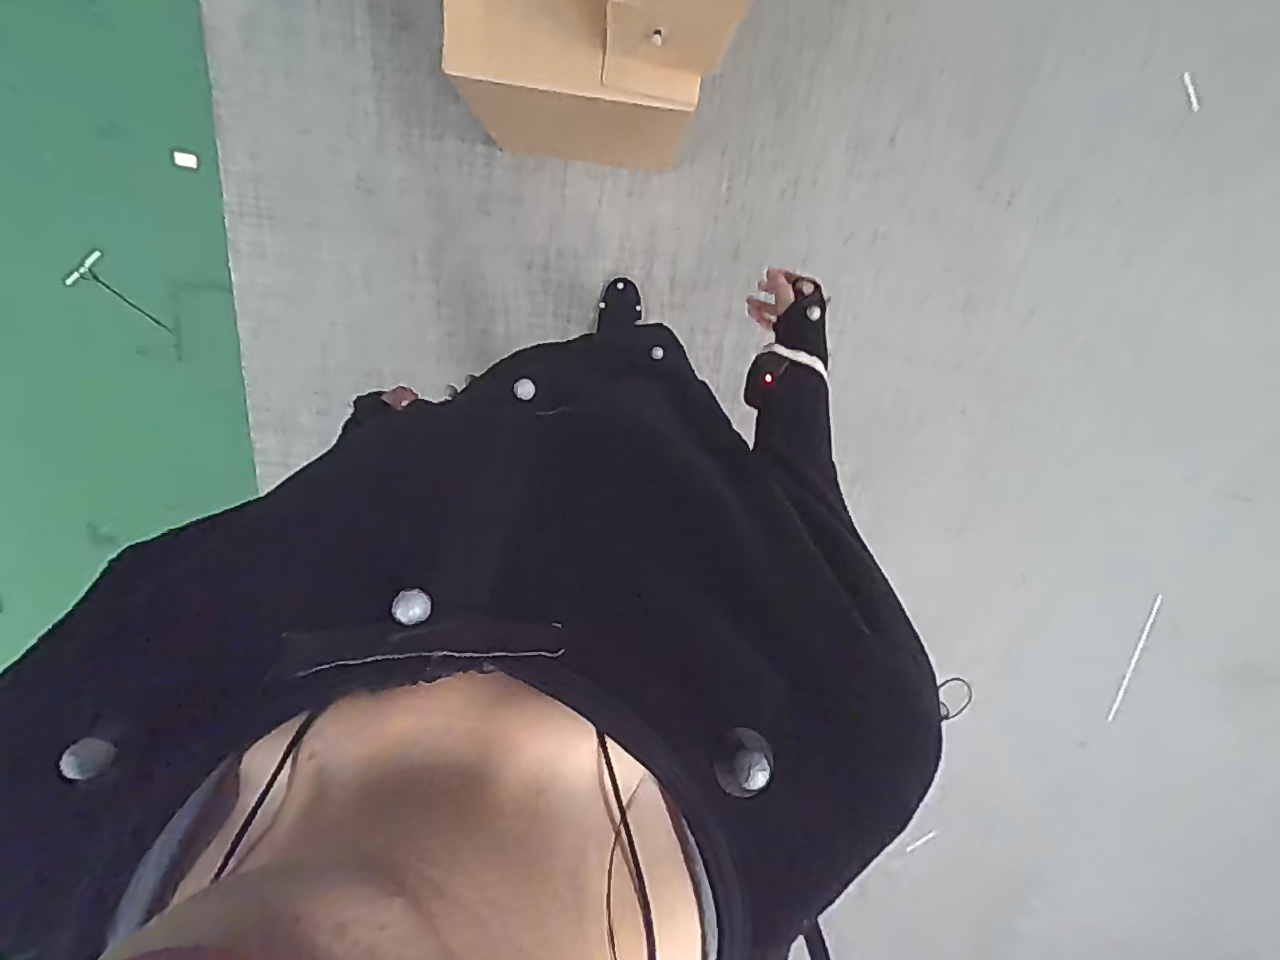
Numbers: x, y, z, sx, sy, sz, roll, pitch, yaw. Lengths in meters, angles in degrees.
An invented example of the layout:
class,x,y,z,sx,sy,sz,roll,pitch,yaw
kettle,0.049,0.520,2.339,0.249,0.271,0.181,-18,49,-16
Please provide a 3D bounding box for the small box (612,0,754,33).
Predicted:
class,x,y,z,sx,sy,sz,roll,pitch,yaw
small box,0.064,-0.643,0.602,0.179,0.176,0.168,9,107,-6

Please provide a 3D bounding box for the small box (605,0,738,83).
class,x,y,z,sx,sy,sz,roll,pitch,yaw
small box,0.051,-0.692,0.757,0.179,0.176,0.168,8,109,-5
